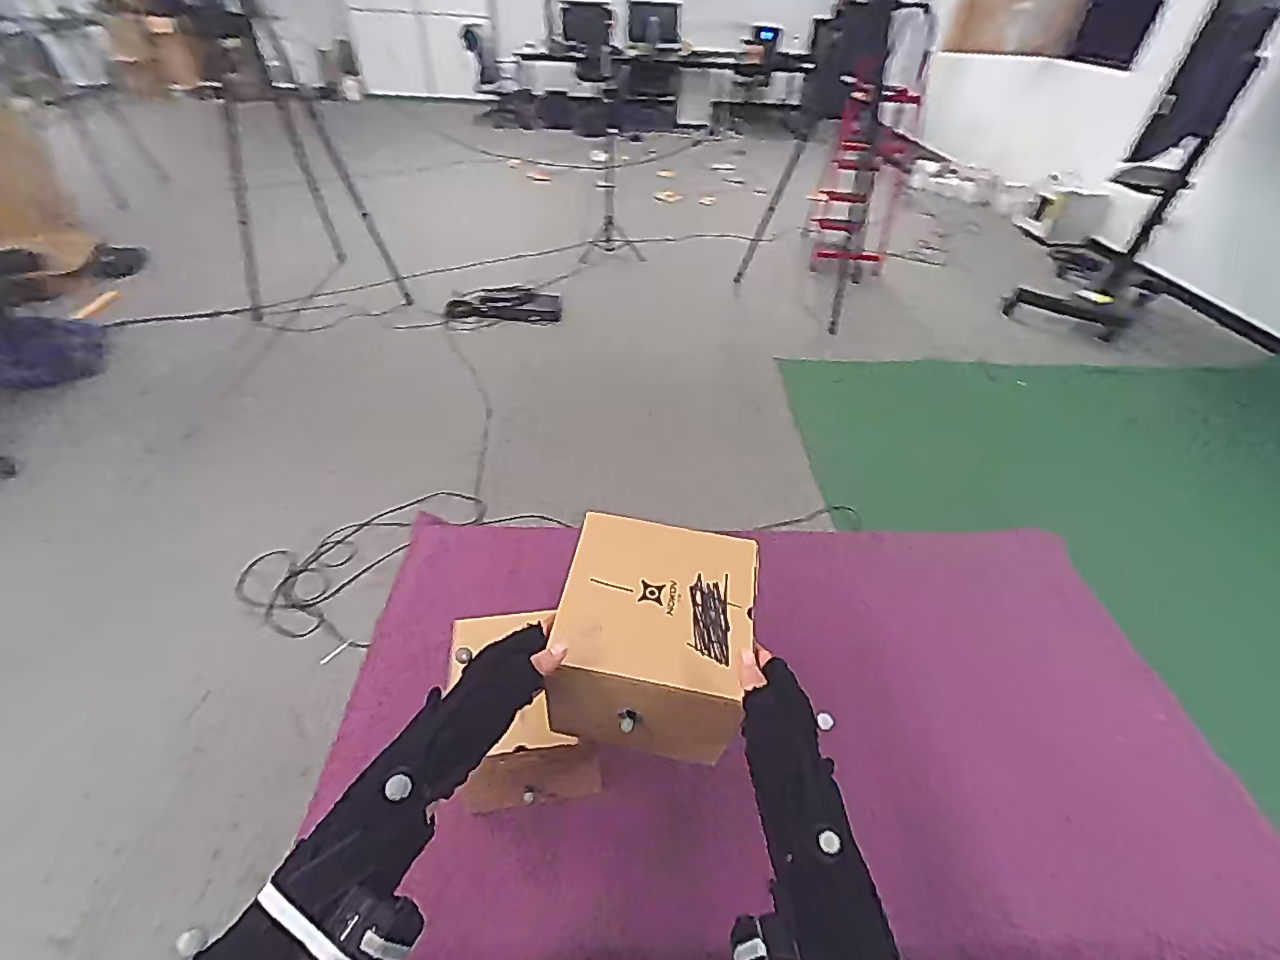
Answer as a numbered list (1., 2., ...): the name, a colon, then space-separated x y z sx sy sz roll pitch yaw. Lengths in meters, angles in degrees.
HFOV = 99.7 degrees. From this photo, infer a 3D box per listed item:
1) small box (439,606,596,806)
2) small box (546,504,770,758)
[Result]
1. small box: -0.145 0.284 0.689 0.168 0.176 0.179 -5 44 -7
2. small box: 0.018 0.155 0.544 0.179 0.176 0.168 13 45 6
